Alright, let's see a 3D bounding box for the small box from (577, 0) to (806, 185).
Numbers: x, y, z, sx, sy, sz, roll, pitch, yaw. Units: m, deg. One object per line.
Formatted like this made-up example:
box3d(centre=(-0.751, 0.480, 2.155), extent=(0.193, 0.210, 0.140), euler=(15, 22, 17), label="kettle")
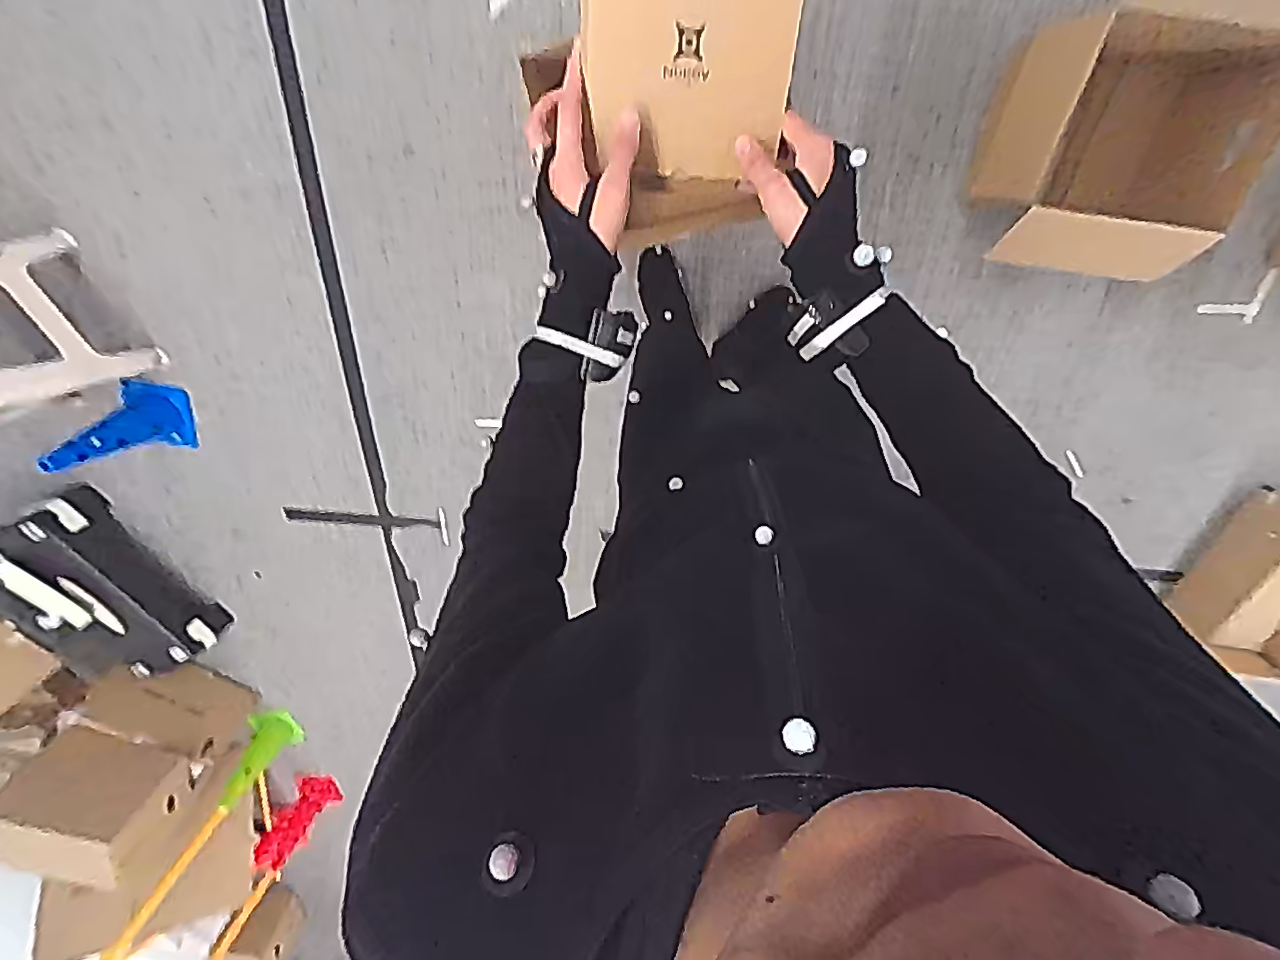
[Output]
box3d(centre=(0.032, -0.370, 0.465), extent=(0.168, 0.176, 0.179), euler=(0, 126, -5), label="small box")
